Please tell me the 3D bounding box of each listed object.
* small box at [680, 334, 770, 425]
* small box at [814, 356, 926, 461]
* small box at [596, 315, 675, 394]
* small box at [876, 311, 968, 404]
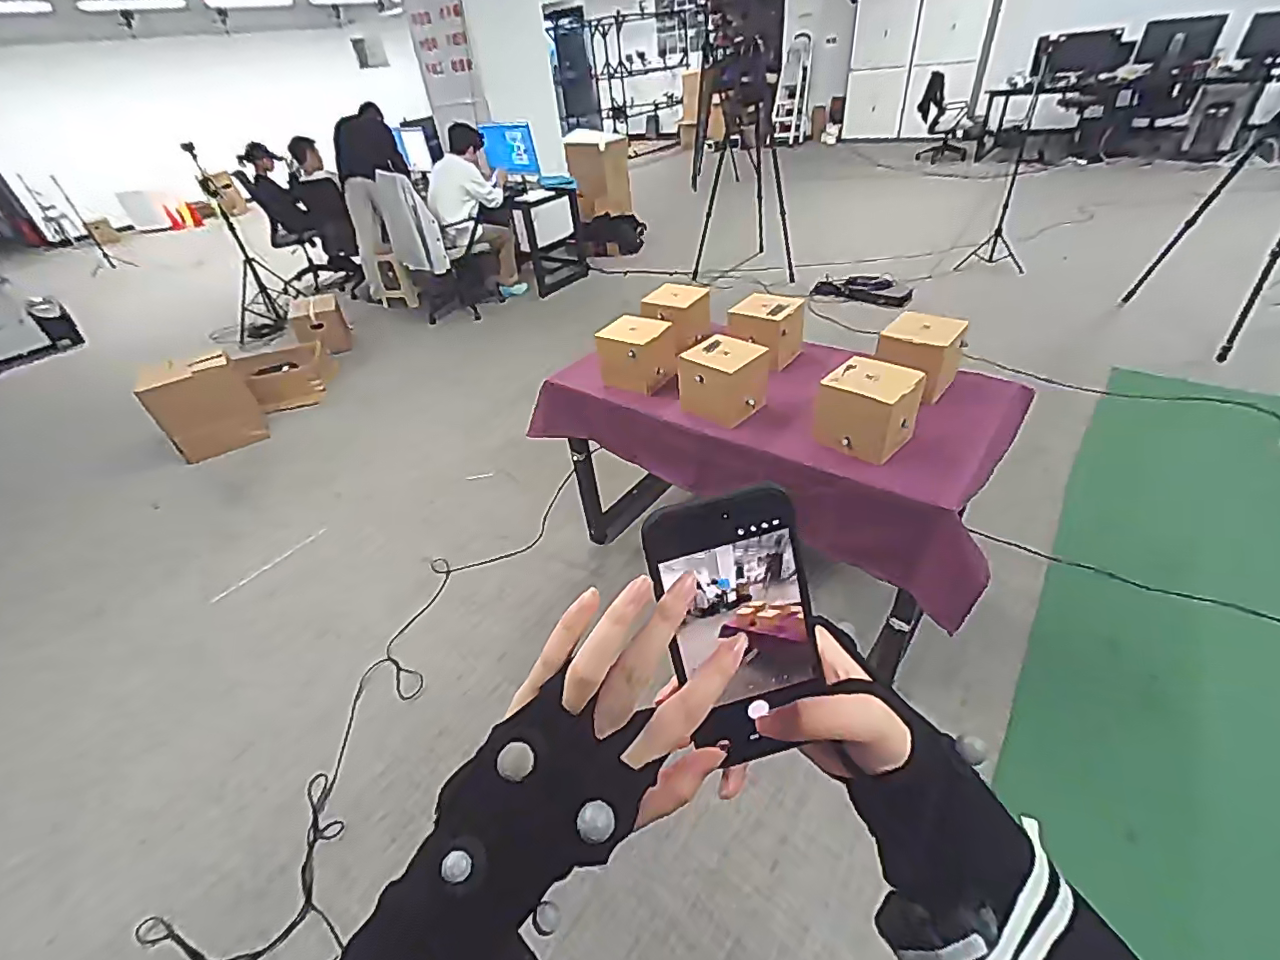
[{"bbox_3d":[0.226,-0.268,1.453,0.179,0.176,0.168,29,51,36],"label":"small box"},{"bbox_3d":[0.534,-0.166,1.274,0.168,0.176,0.179,-34,46,-31],"label":"small box"},{"bbox_3d":[-0.009,-0.377,1.630,0.179,0.176,0.168,19,45,27],"label":"small box"},{"bbox_3d":[0.741,-0.328,1.444,0.168,0.176,0.179,25,49,35],"label":"small box"}]
